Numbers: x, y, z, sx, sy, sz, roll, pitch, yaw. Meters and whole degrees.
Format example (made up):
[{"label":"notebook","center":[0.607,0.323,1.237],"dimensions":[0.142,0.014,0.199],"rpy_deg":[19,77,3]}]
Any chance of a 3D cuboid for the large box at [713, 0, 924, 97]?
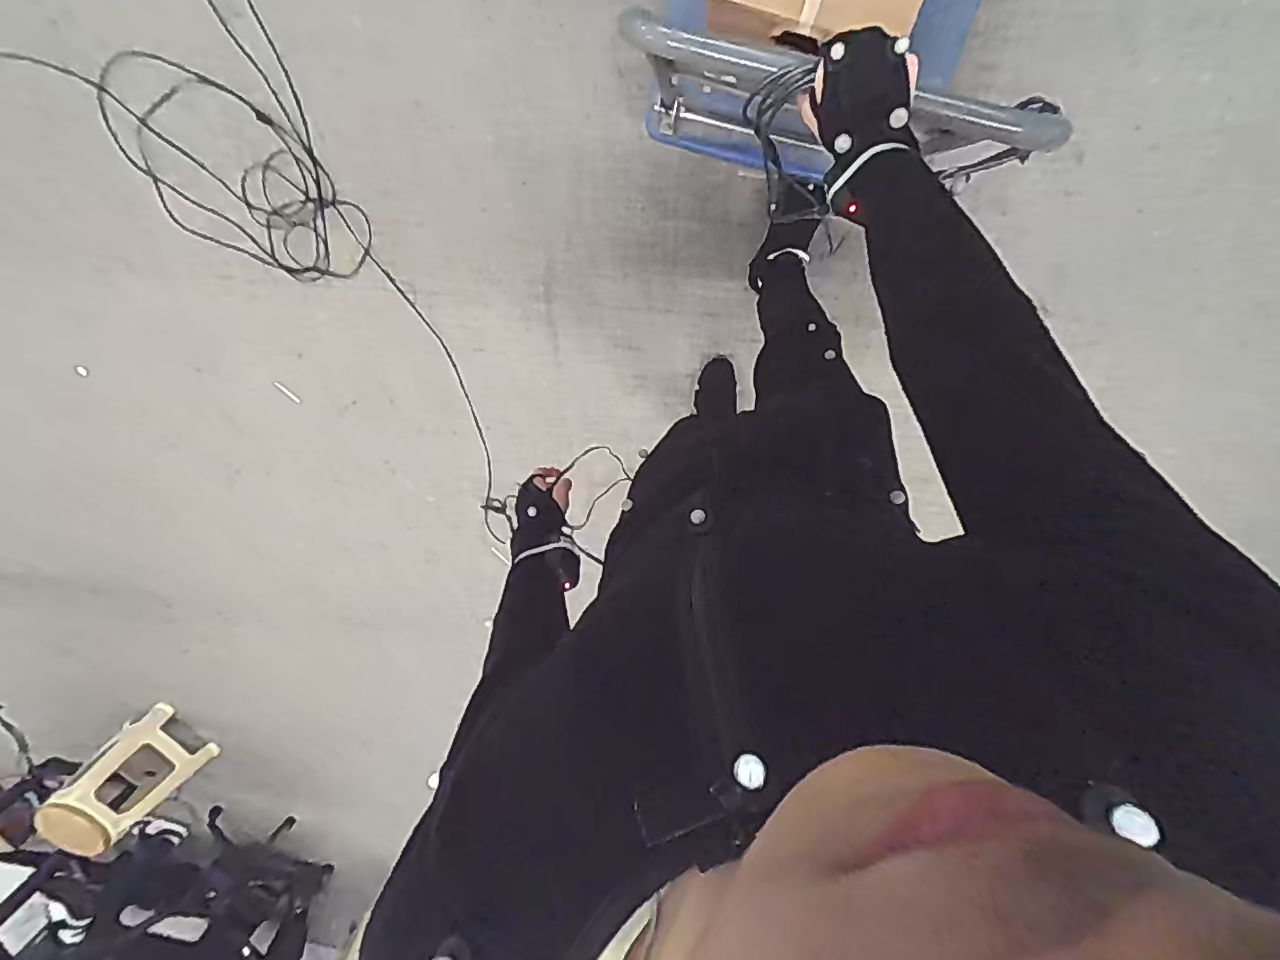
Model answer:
[{"label":"large box","center":[0.320,-0.918,0.866],"dimensions":[0.320,0.320,0.408],"rpy_deg":[17,114,0]}]
